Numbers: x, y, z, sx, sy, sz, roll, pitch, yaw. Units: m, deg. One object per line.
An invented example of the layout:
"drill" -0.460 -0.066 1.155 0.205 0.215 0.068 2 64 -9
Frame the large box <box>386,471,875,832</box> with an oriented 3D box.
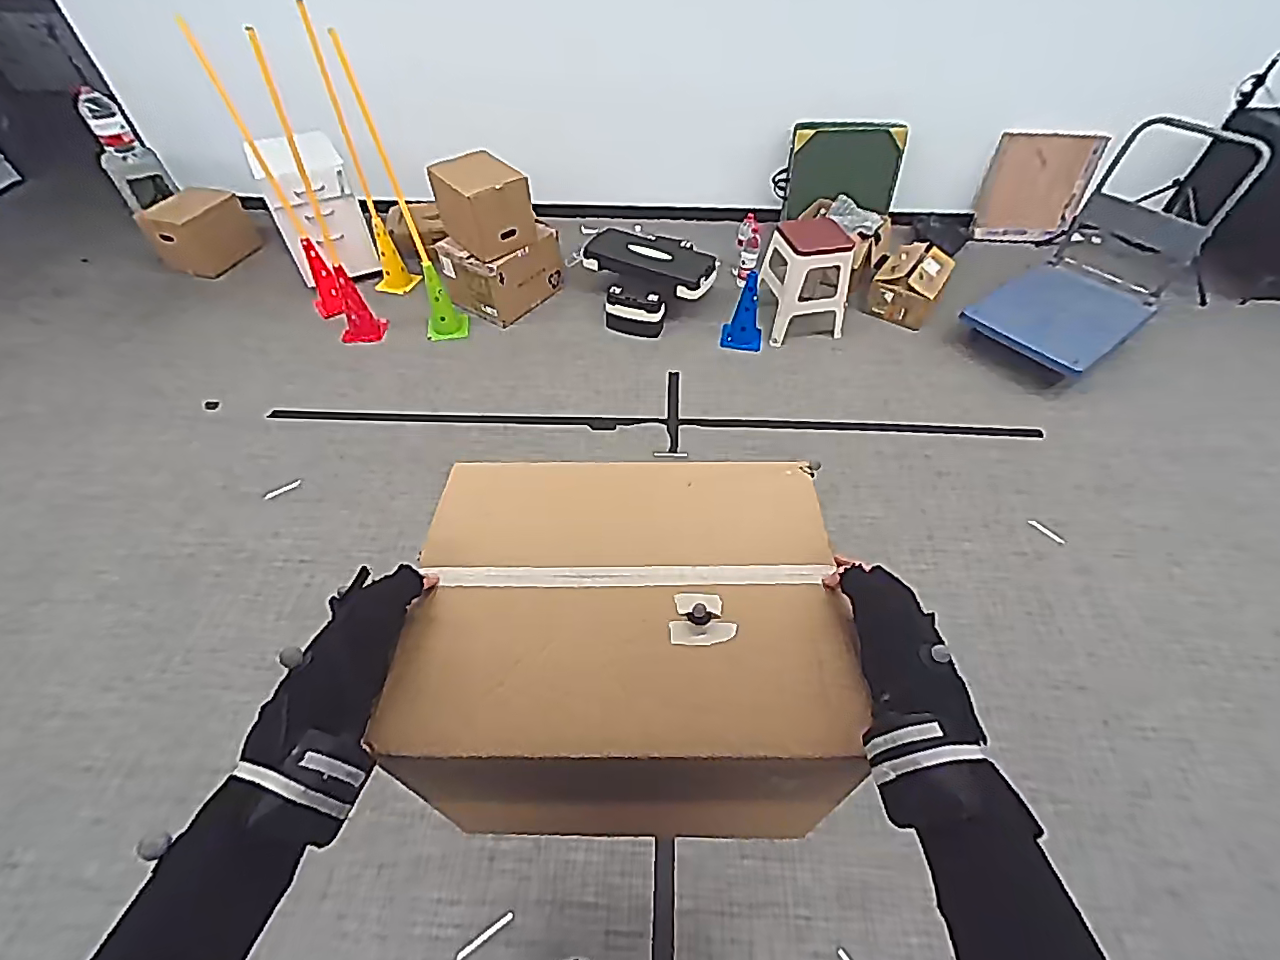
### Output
"large box" -0.008 0.204 0.640 0.408 0.320 0.320 0 47 1
